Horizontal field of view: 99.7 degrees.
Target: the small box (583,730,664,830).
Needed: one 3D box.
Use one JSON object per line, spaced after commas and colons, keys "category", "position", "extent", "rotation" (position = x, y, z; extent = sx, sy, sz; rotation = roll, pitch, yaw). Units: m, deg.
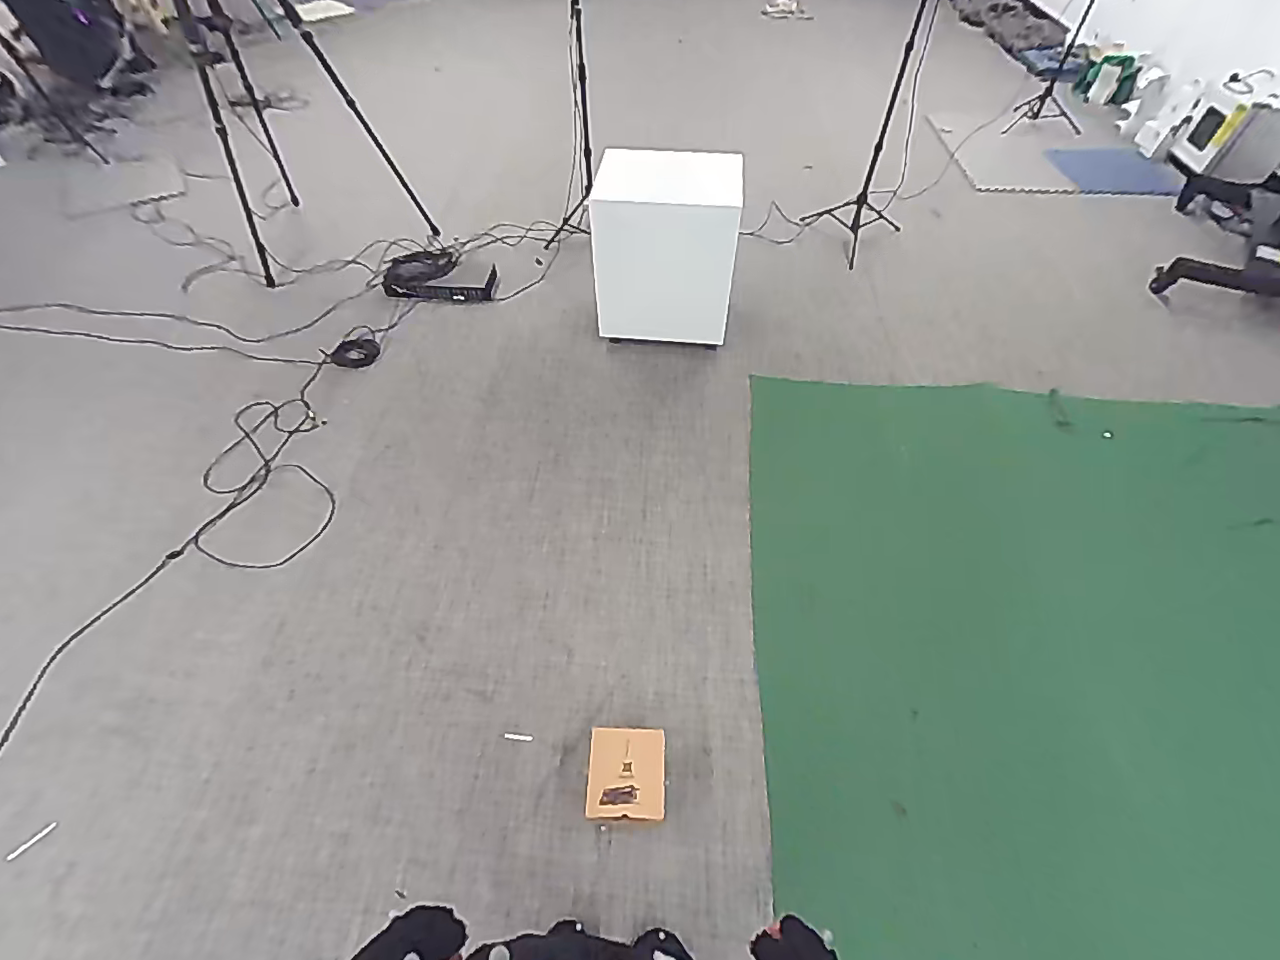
{"category": "small box", "position": [-0.031, 0.681, 1.222], "extent": [0.168, 0.176, 0.179], "rotation": [2, 52, 2]}
